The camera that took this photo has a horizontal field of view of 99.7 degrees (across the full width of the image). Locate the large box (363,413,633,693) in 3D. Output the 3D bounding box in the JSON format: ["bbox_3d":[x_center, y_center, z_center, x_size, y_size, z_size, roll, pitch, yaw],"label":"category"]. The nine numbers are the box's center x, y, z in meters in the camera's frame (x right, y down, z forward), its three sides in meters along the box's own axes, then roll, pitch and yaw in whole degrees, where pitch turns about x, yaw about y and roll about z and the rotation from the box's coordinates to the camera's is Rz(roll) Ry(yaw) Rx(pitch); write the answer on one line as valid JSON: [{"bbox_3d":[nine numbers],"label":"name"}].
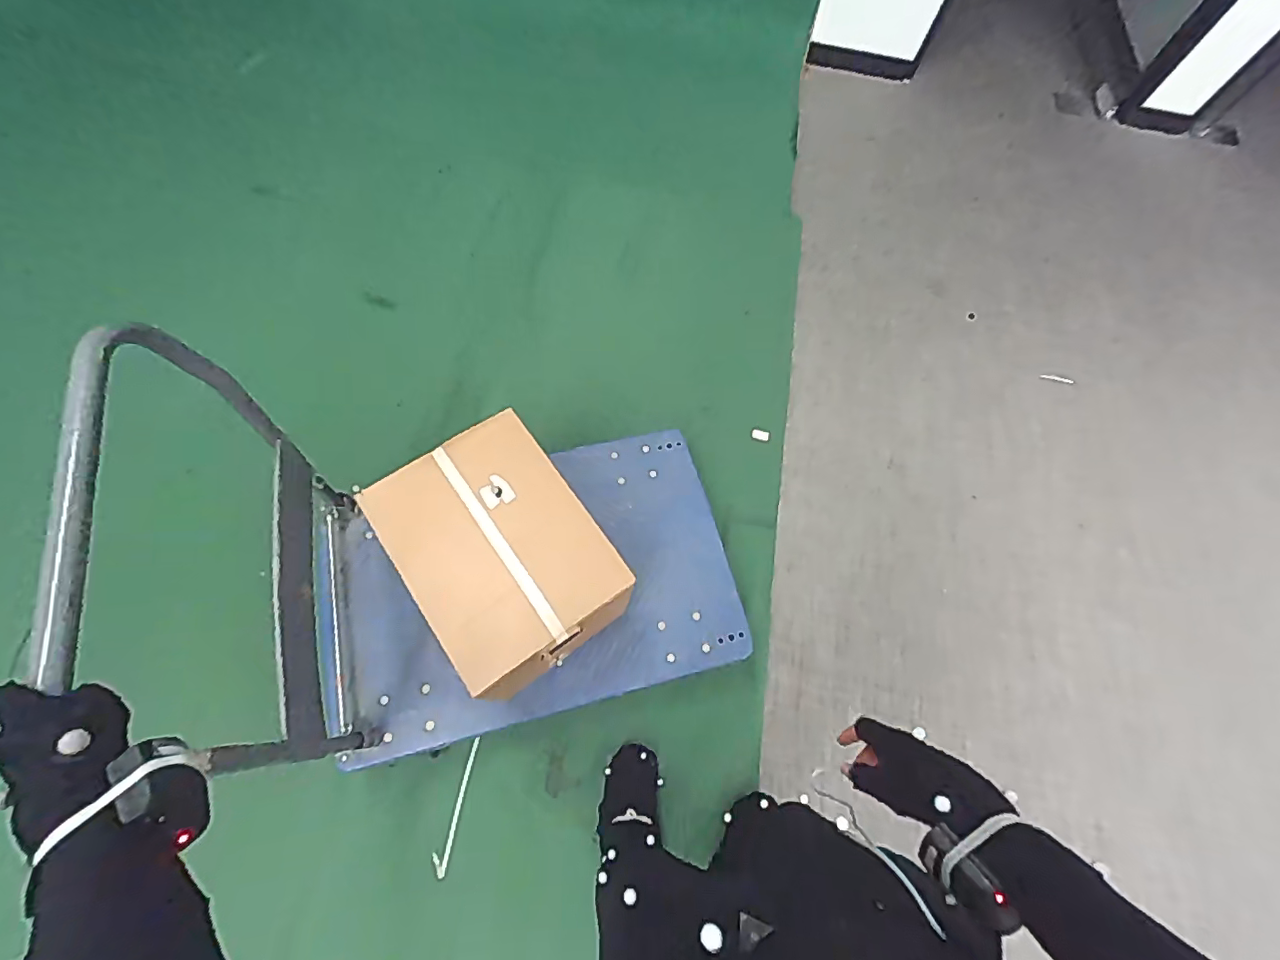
[{"bbox_3d":[-0.254,0.157,1.068,0.320,0.320,0.408,-33,73,-17],"label":"large box"}]
